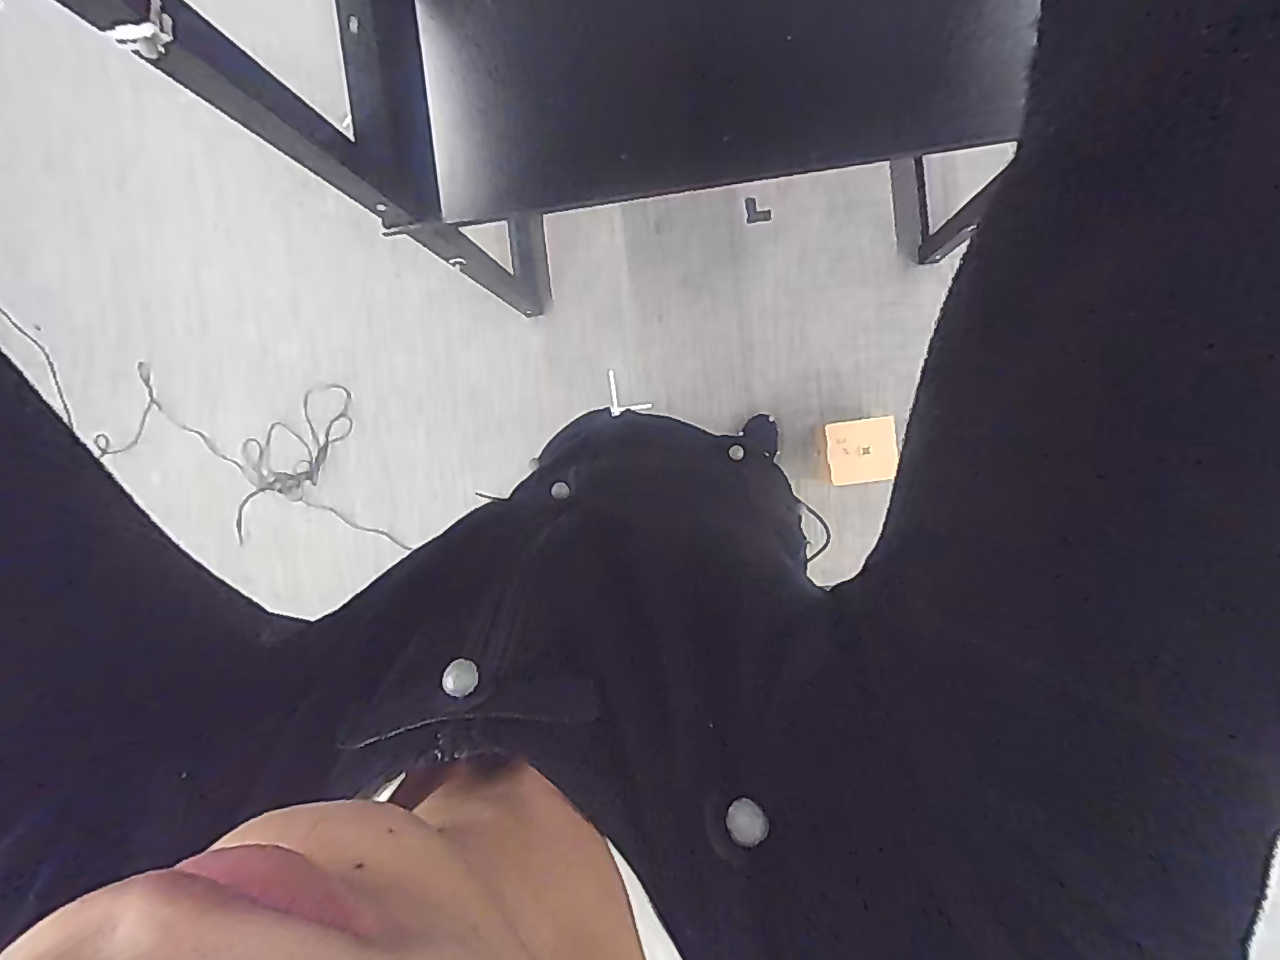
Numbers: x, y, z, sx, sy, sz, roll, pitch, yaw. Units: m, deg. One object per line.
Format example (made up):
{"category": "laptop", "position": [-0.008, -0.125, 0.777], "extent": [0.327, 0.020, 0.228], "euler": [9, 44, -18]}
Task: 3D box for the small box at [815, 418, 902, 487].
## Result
{"category": "small box", "position": [0.590, -0.078, 1.479], "extent": [0.179, 0.176, 0.168], "euler": [-7, 93, 8]}
